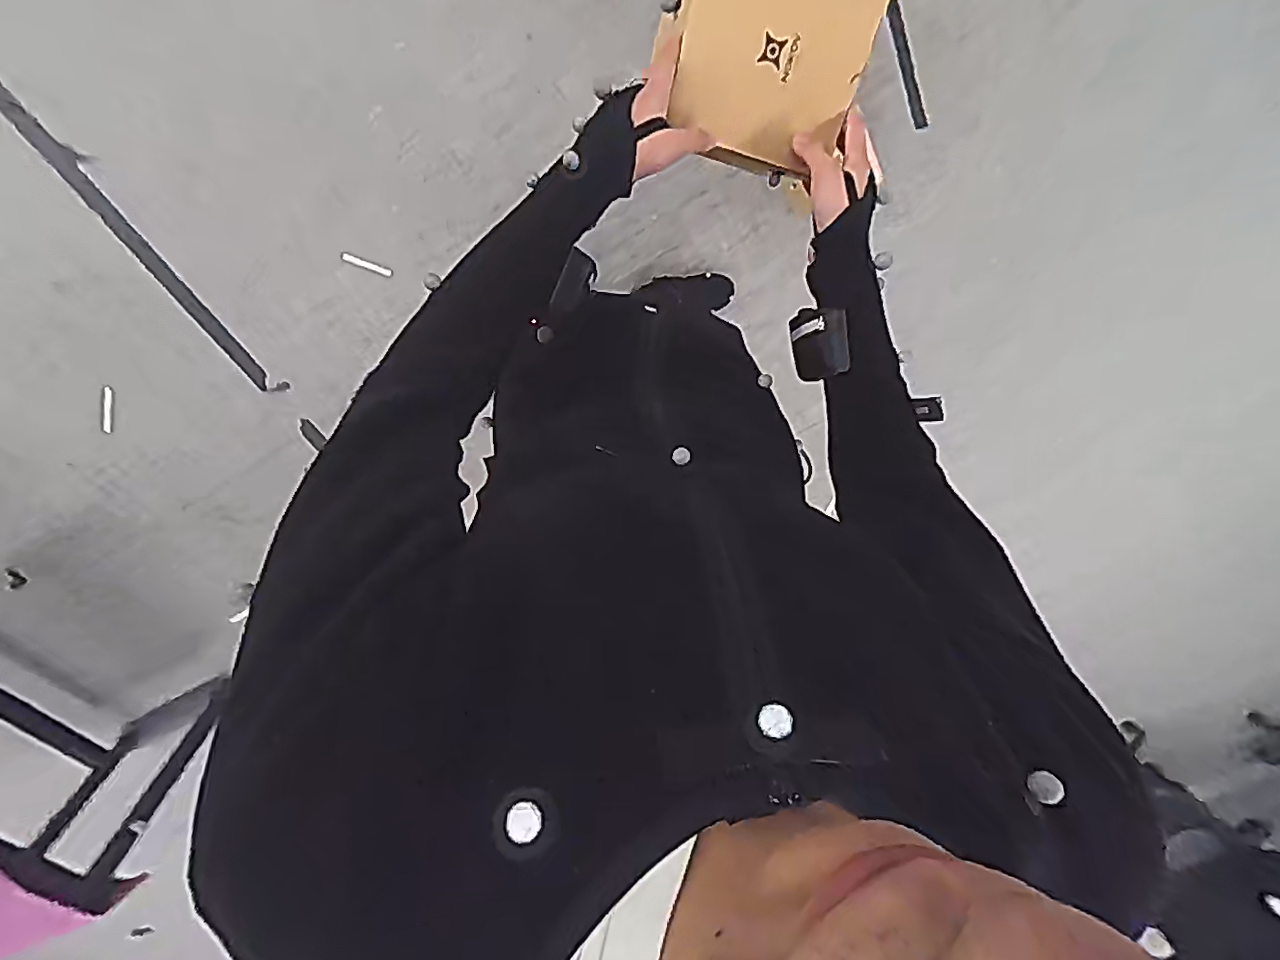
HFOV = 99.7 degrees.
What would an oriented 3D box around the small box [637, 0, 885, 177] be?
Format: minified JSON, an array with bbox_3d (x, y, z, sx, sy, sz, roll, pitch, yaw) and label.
[{"bbox_3d":[0.104,-0.420,0.547,0.179,0.176,0.168,7,119,-16],"label":"small box"}]
